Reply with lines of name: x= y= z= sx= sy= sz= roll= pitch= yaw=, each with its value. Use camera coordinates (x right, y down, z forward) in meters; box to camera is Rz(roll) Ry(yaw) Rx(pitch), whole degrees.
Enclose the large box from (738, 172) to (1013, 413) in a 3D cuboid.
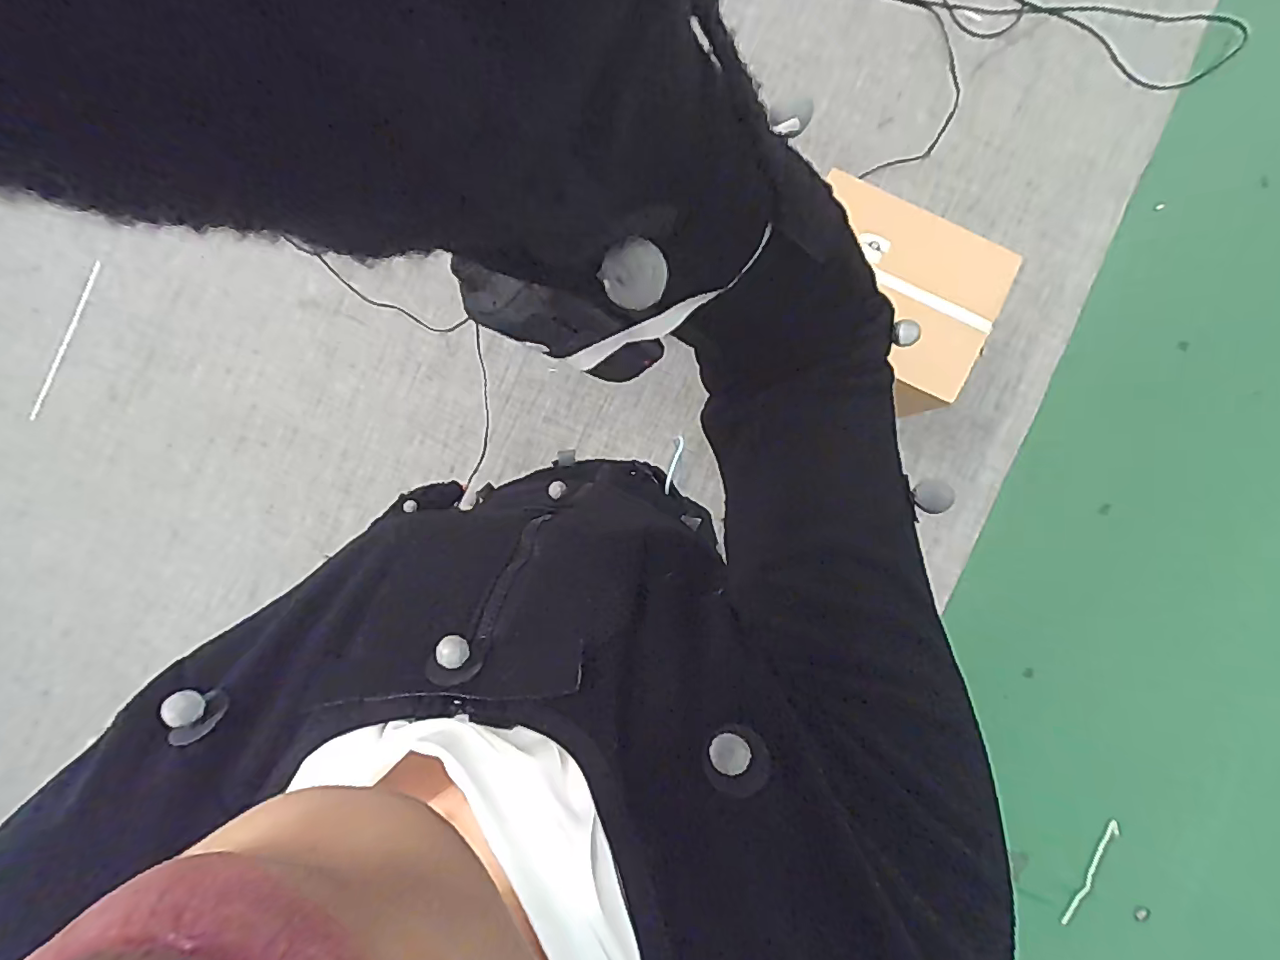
large box: x=0.479 y=-0.377 z=1.188 sx=0.408 sy=0.320 sz=0.320 roll=26 pitch=90 yaw=1
